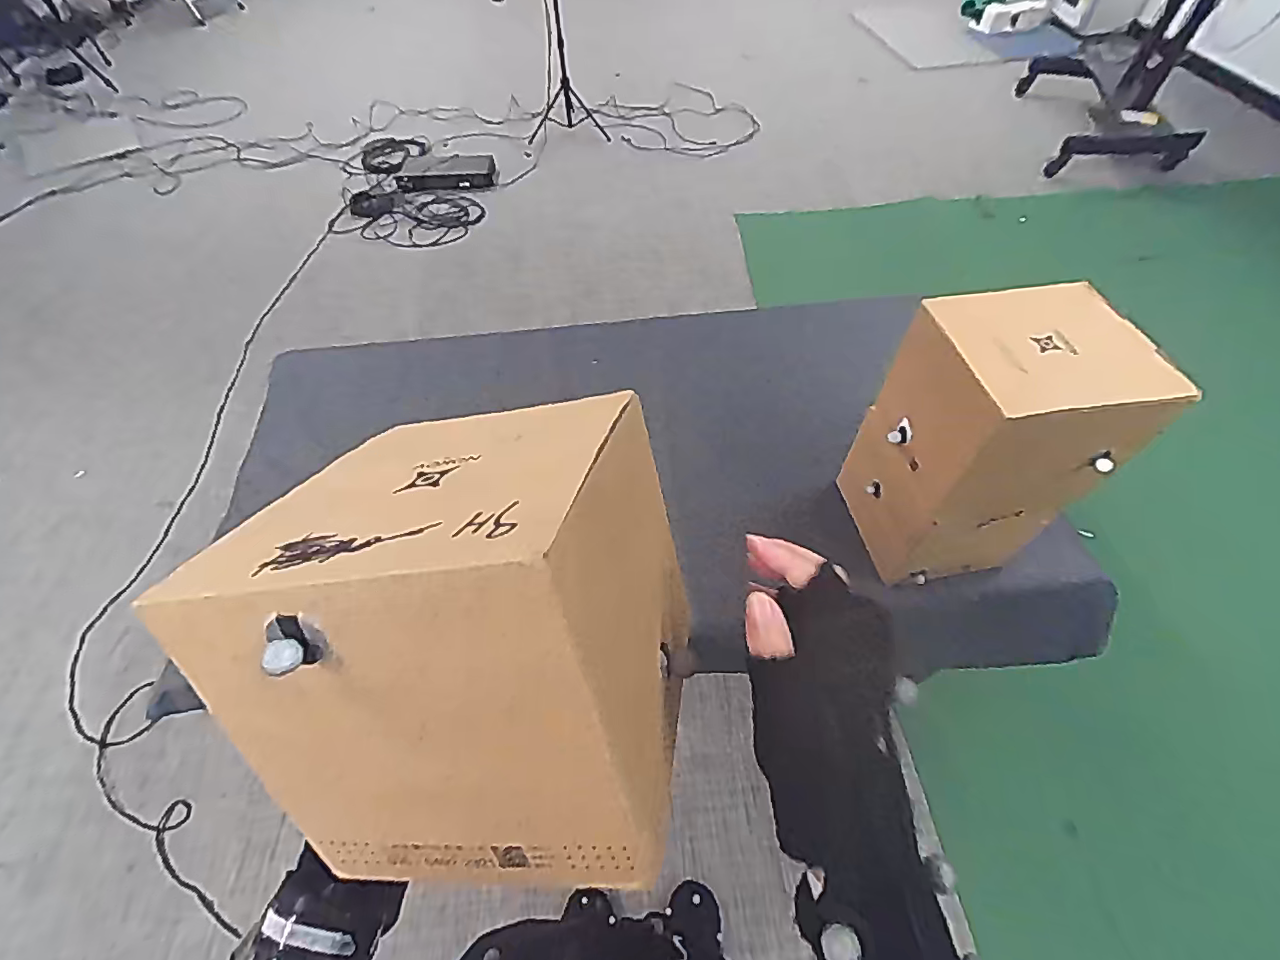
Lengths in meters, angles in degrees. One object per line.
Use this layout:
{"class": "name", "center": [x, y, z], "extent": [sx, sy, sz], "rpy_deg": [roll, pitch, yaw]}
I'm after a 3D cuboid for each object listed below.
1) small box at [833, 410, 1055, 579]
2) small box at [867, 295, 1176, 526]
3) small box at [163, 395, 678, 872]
{"class": "small box", "center": [0.378, 0.017, 0.711], "extent": [0.168, 0.176, 0.179], "rpy_deg": [-9, 54, -5]}
{"class": "small box", "center": [0.375, -0.069, 0.575], "extent": [0.179, 0.176, 0.168], "rpy_deg": [-8, 53, -2]}
{"class": "small box", "center": [-0.078, 0.068, 0.296], "extent": [0.168, 0.176, 0.179], "rpy_deg": [-9, 23, 14]}
